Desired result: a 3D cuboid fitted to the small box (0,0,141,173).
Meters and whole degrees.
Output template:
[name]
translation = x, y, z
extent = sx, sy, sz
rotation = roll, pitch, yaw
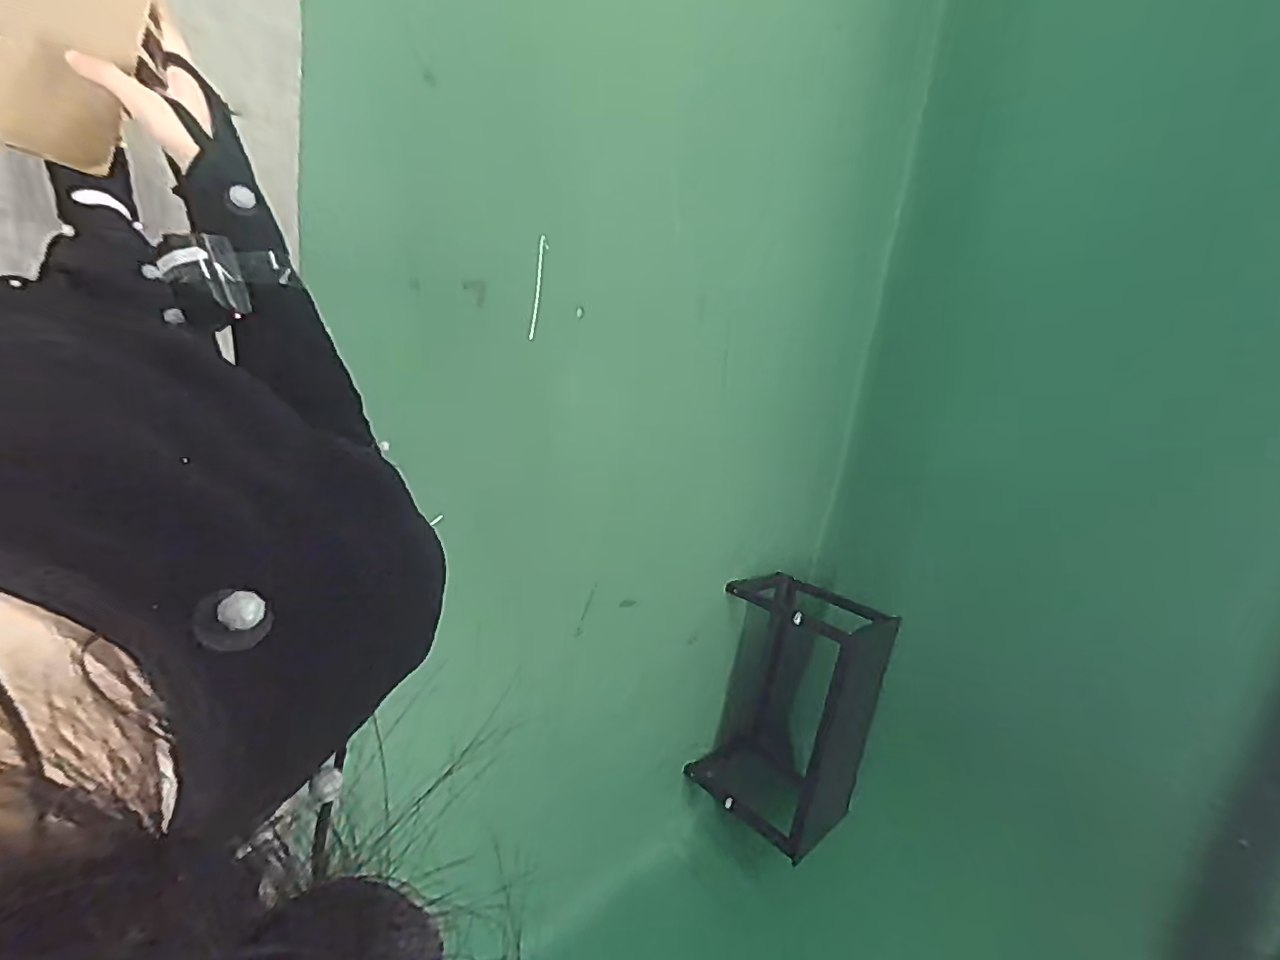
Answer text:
[small box]
translation = -0.469, -0.359, 0.354
extent = 0.179, 0.176, 0.168
rotation = -45, 159, 24
